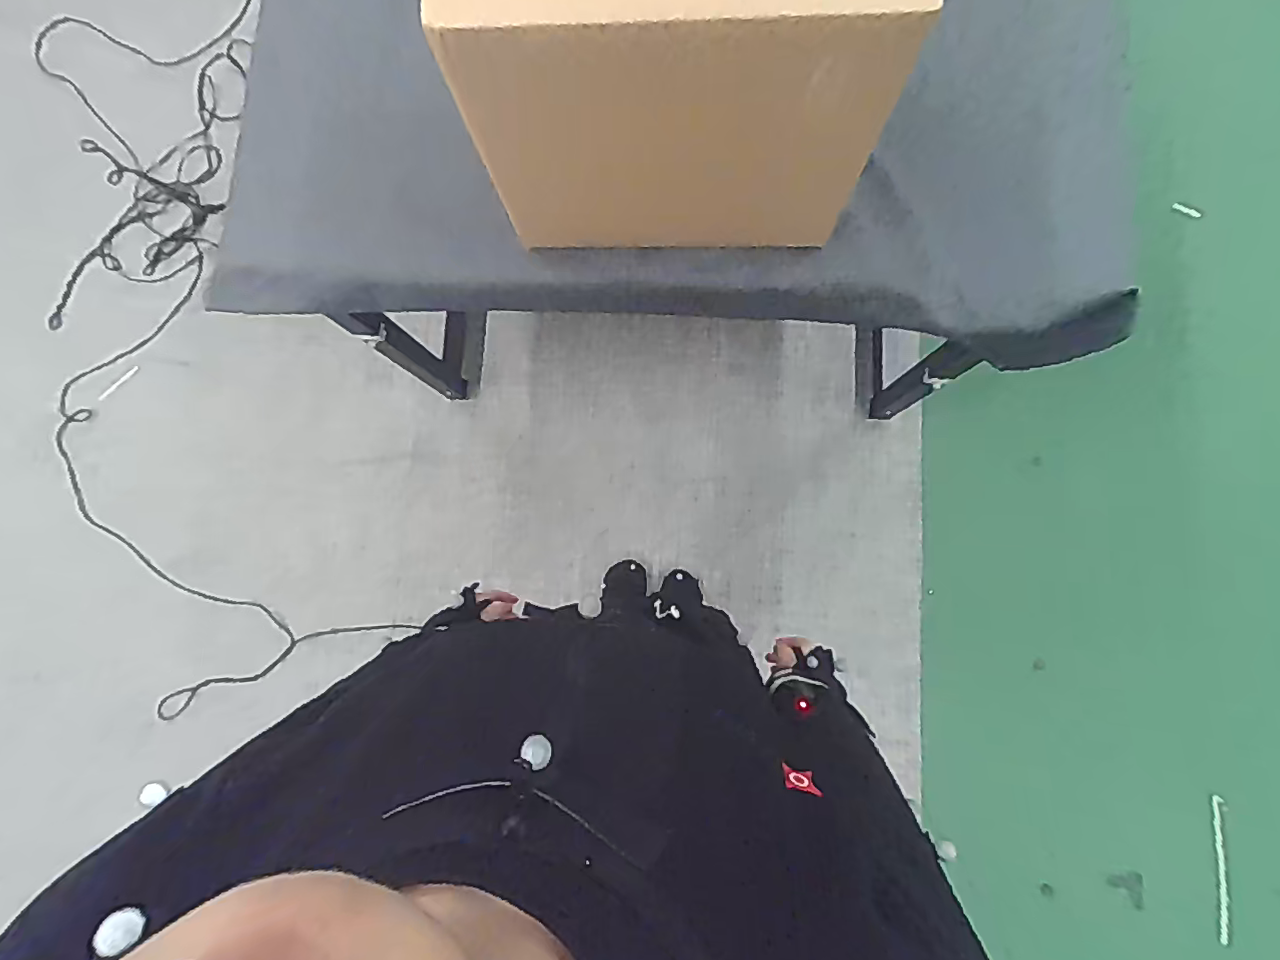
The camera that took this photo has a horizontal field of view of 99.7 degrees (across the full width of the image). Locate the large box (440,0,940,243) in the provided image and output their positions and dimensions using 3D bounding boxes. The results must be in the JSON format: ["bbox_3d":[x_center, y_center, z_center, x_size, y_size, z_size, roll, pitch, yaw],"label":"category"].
[{"bbox_3d":[0.040,-0.489,0.595,0.408,0.320,0.320,0,82,2],"label":"large box"}]
